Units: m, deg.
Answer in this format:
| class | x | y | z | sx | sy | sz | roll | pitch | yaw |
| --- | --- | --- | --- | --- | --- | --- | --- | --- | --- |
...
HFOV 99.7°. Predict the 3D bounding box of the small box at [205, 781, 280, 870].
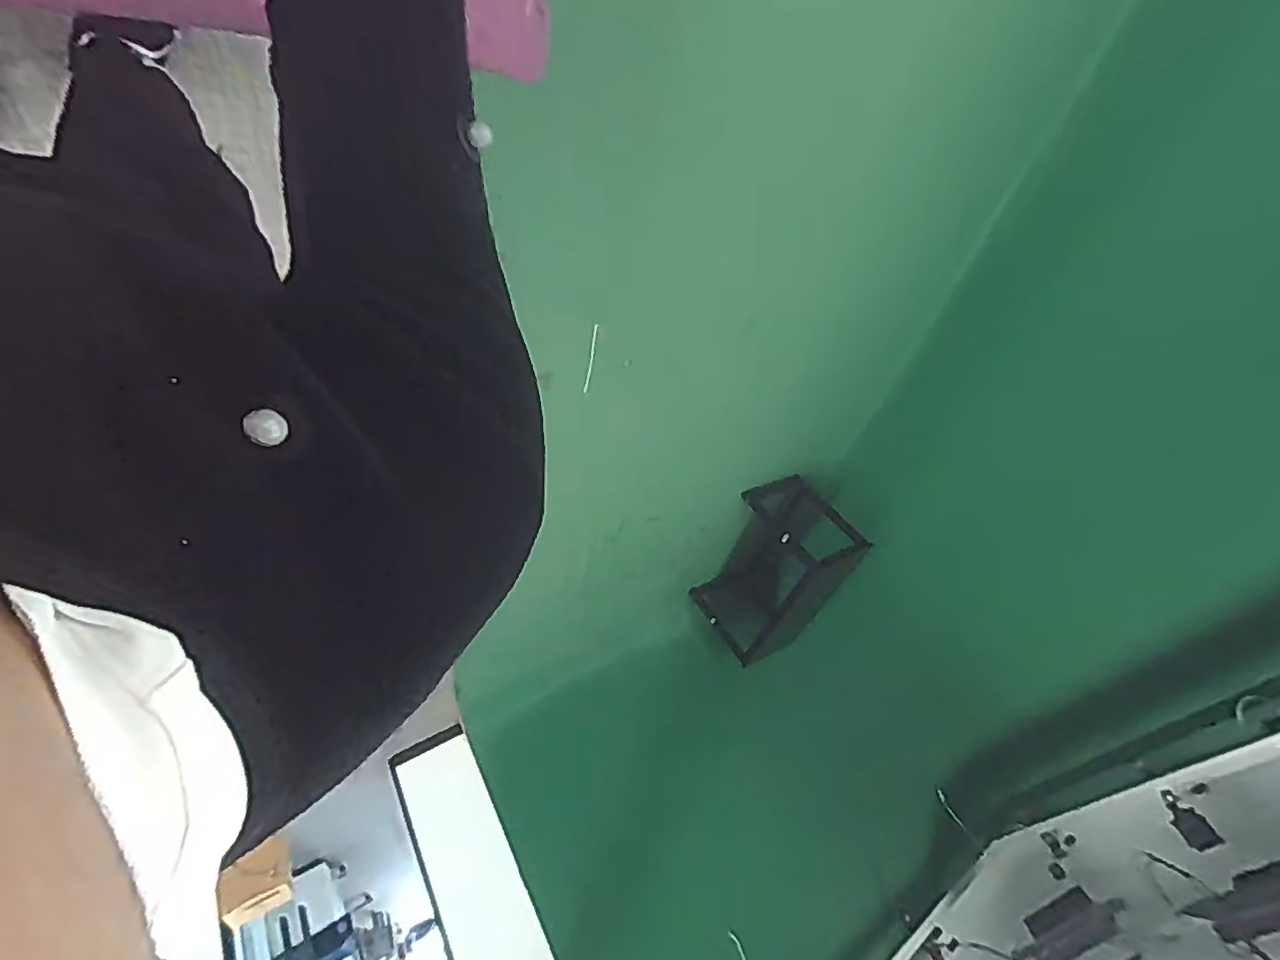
| class | x | y | z | sx | sy | sz | roll | pitch | yaw |
| --- | --- | --- | --- | --- | --- | --- | --- | --- | --- |
| small box | -1.312 | 1.136 | 1.787 | 0.168 | 0.176 | 0.179 | -15 | 140 | -32 |
